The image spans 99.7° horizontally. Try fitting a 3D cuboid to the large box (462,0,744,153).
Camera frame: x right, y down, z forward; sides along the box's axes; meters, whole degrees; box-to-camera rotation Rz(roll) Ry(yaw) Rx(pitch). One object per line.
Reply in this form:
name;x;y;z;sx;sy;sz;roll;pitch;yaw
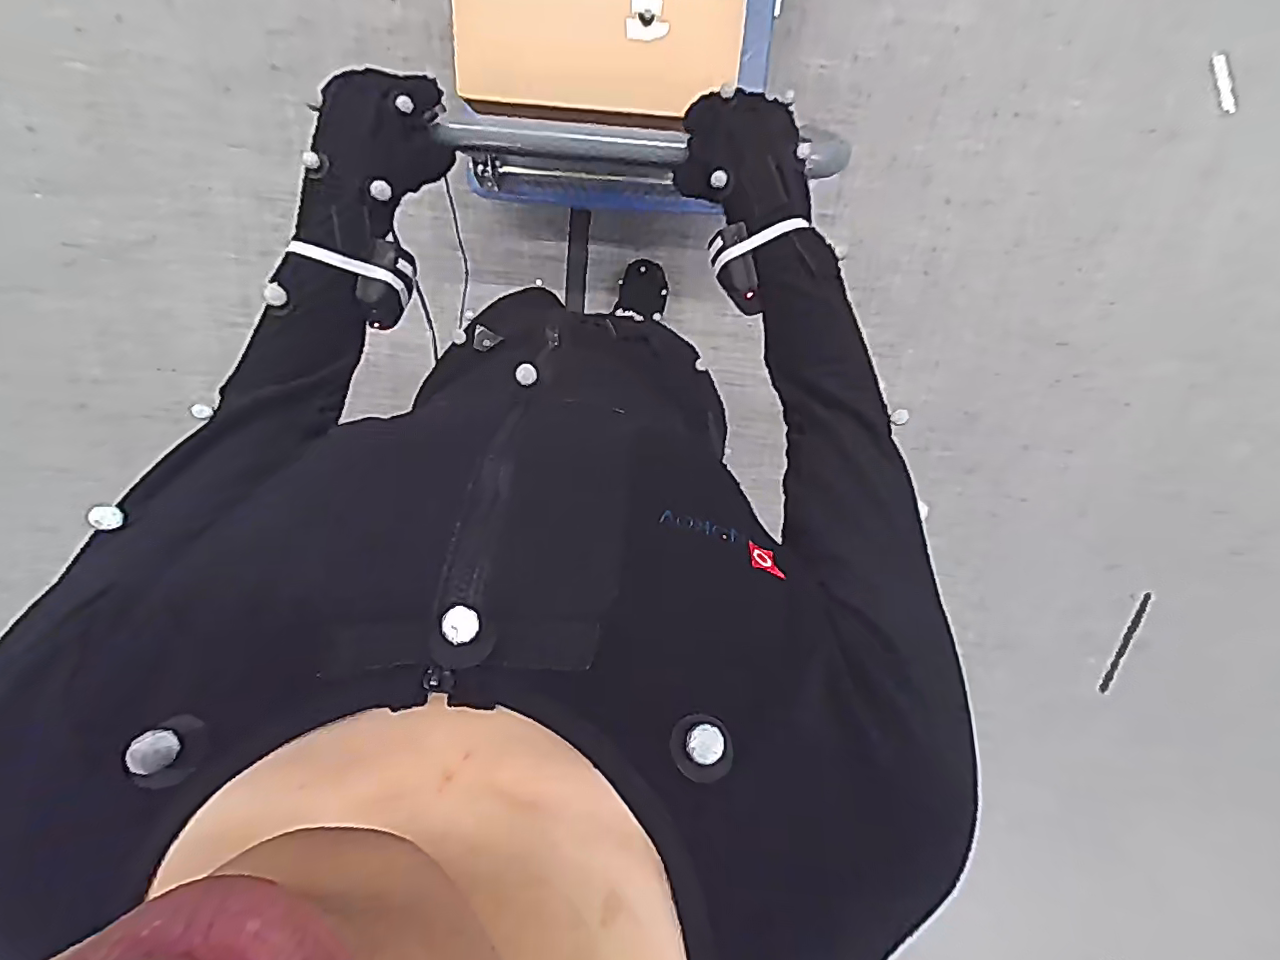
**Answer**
large box;-0.057;-0.753;0.885;0.408;0.320;0.320;2;112;-4
